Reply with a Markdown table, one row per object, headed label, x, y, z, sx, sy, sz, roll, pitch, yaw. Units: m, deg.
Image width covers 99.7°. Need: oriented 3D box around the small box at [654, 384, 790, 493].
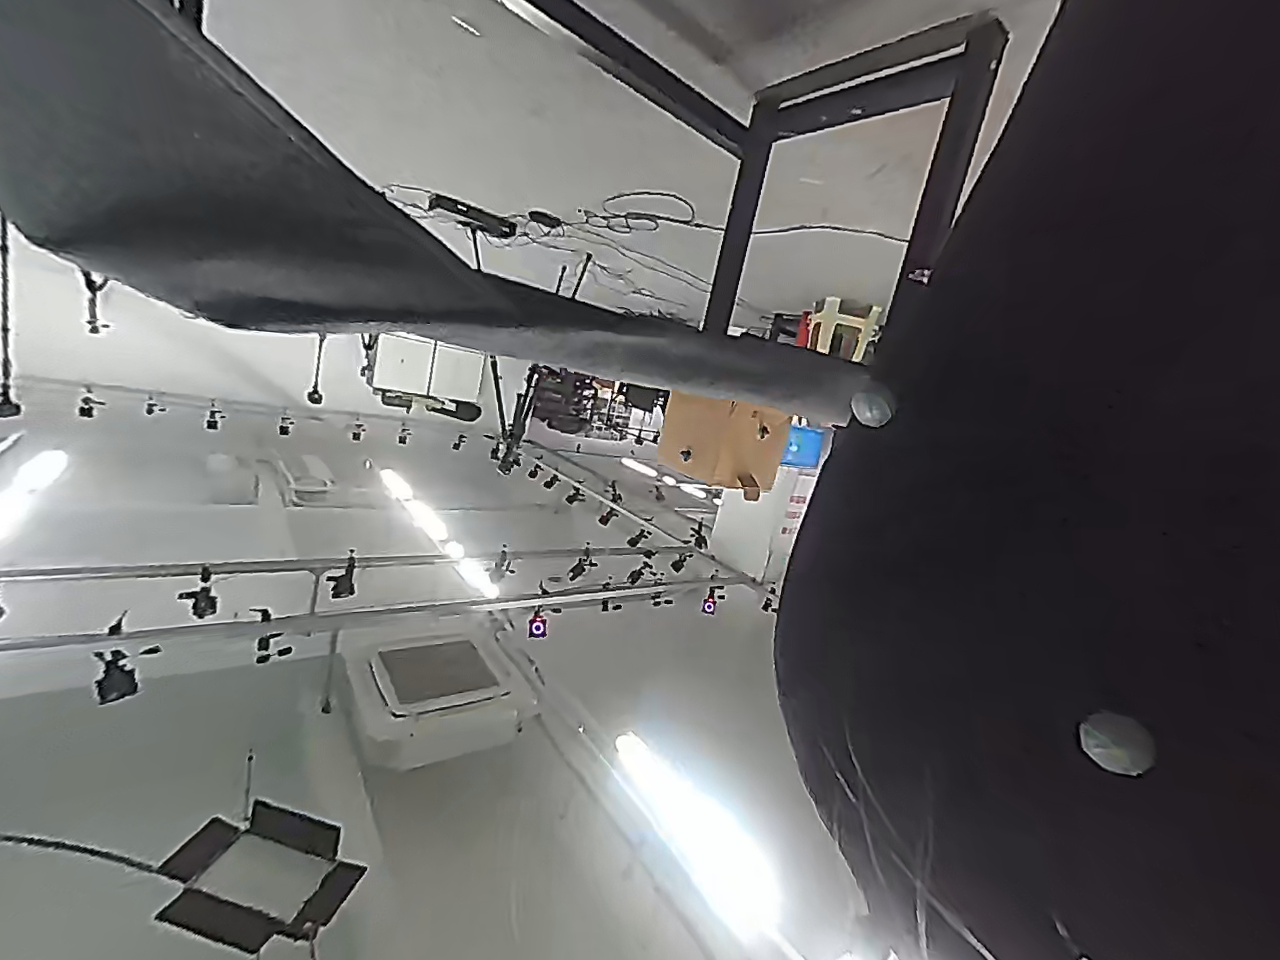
| label | x | y | z | sx | sy | sz | roll | pitch | yaw |
| --- | --- | --- | --- | --- | --- | --- | --- | --- | --- |
| small box | 0.156 | -0.084 | 1.034 | 0.168 | 0.176 | 0.179 | 5 | -167 | -37 |
